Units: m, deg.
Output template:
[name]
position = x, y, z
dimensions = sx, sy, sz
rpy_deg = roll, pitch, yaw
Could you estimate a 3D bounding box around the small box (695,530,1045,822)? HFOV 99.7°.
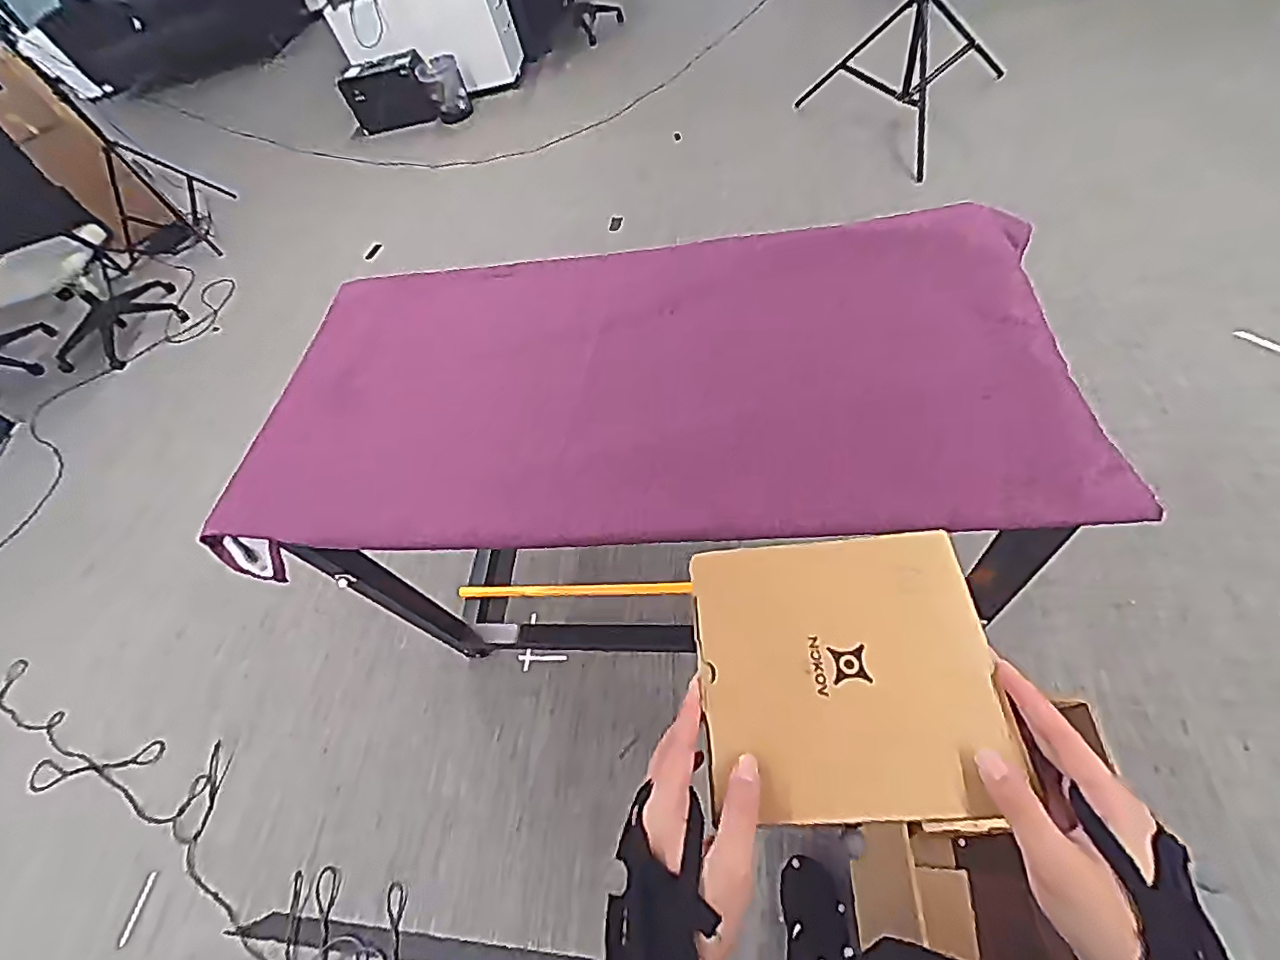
[small box]
position = 0.138, 0.151, 0.400
dimensions = 0.179, 0.176, 0.168
rpy_deg = -7, 58, 7
